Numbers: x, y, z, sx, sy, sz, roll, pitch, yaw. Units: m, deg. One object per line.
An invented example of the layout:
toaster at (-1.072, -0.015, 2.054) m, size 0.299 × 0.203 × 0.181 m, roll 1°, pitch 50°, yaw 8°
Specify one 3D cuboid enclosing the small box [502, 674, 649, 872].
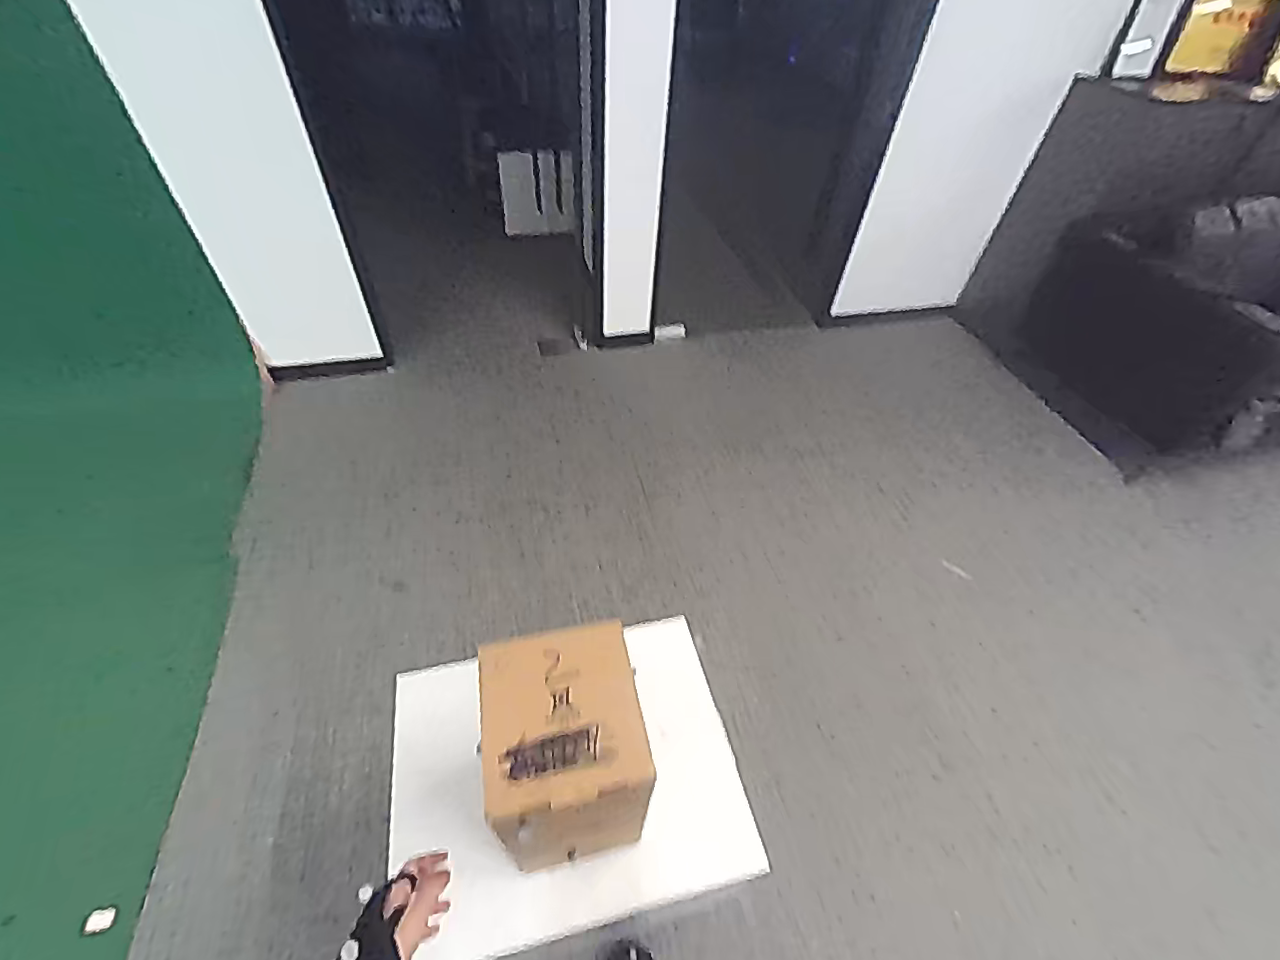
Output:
small box at (-0.092, 0.396, 0.733) m, size 0.168 × 0.176 × 0.179 m, roll -8°, pitch 47°, yaw -12°
